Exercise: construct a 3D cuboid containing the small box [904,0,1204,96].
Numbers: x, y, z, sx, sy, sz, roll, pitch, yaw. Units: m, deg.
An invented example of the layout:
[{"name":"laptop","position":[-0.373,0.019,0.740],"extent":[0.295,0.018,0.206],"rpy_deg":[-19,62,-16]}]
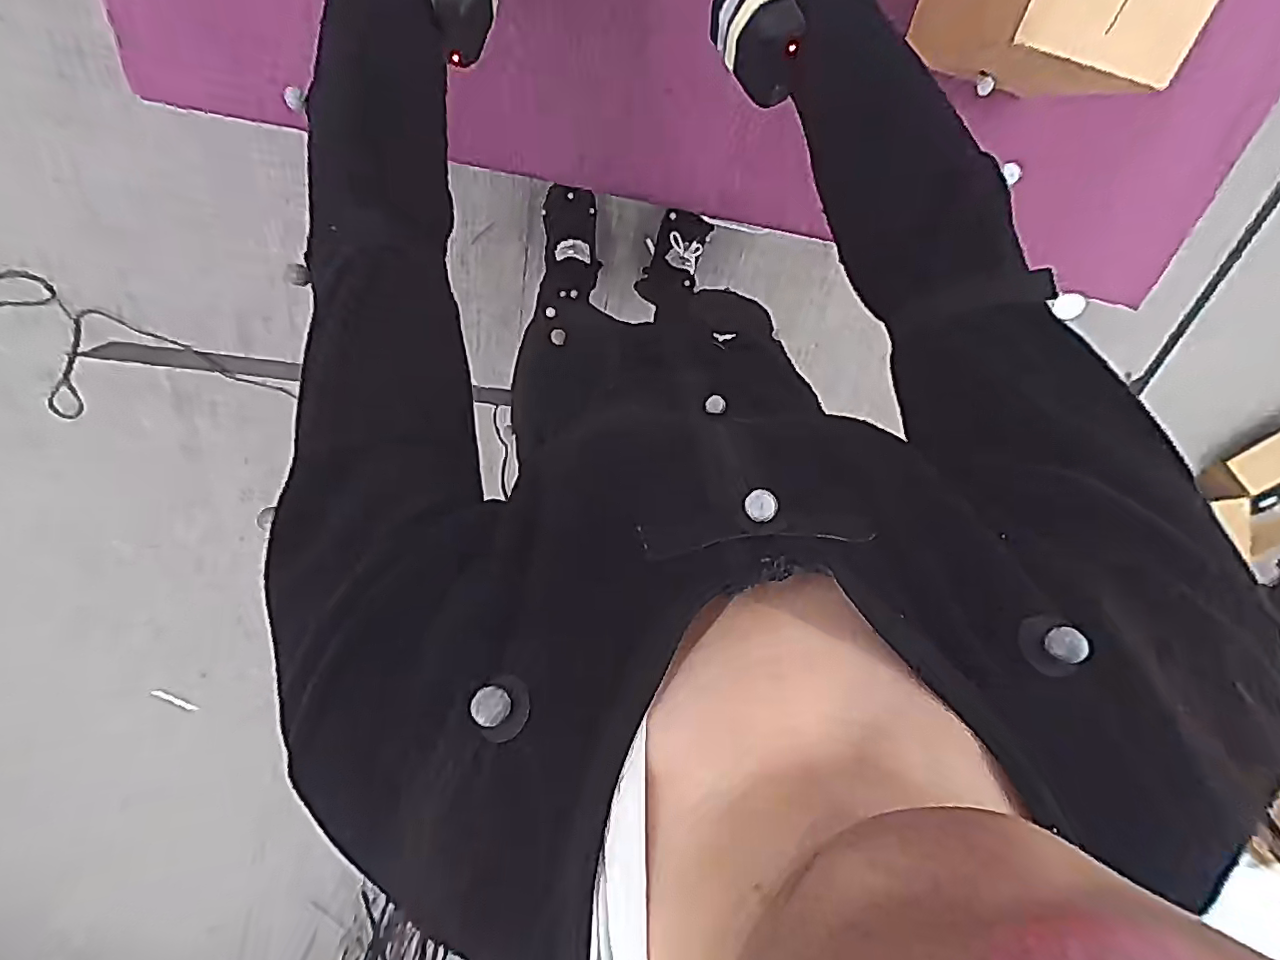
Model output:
[{"name":"small box","position":[0.372,-0.461,0.475],"extent":[0.168,0.176,0.179],"rpy_deg":[4,123,-14]}]
